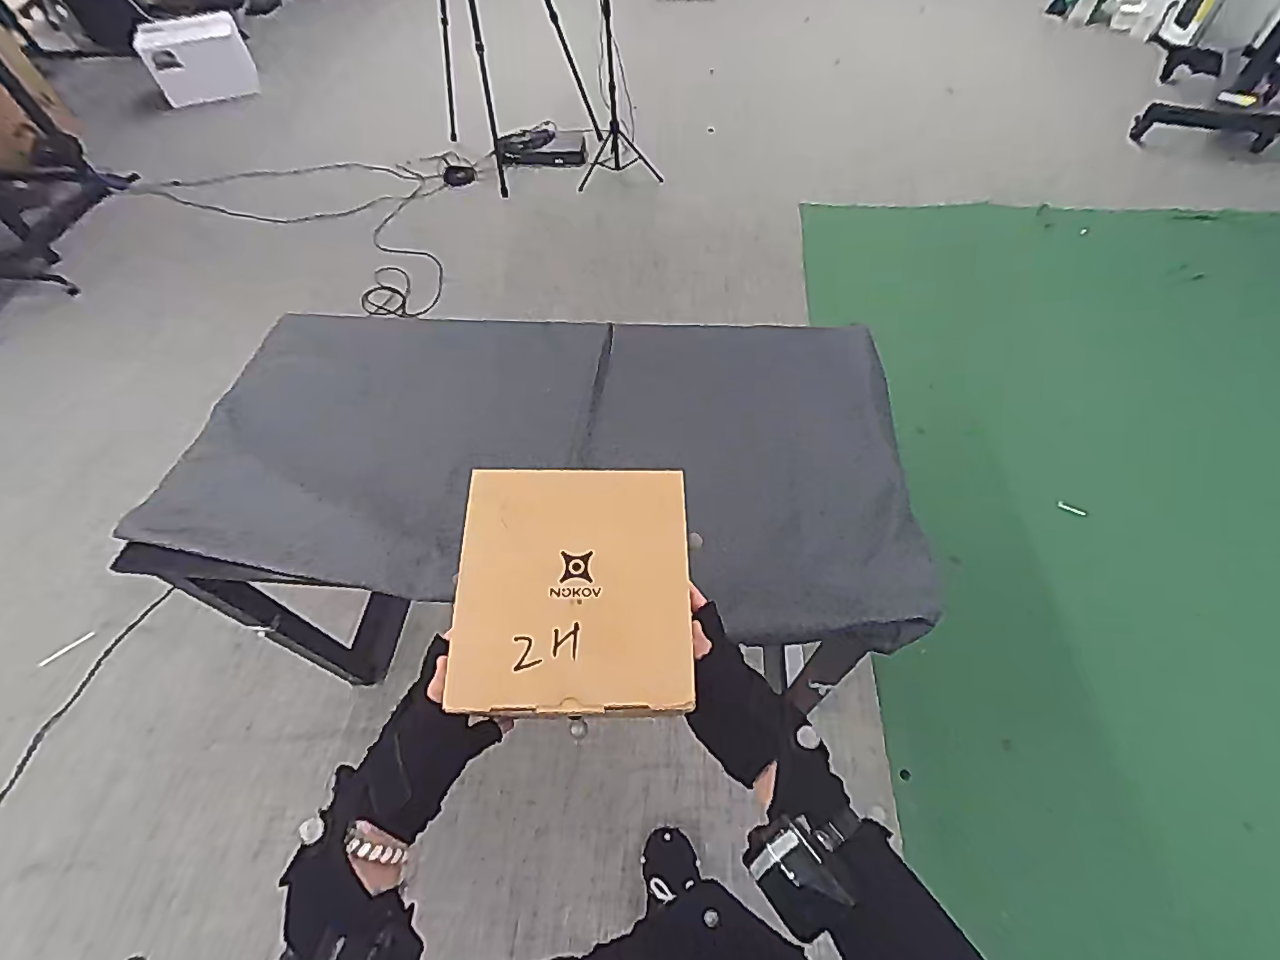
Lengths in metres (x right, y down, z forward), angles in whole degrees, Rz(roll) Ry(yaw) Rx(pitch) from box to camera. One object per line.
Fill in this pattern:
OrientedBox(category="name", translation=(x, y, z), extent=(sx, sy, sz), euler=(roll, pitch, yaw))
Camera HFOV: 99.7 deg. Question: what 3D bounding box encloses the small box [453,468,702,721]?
OrientedBox(category="small box", translation=(-0.044, 0.106, 0.459), extent=(0.168, 0.176, 0.179), euler=(1, 65, -3))
